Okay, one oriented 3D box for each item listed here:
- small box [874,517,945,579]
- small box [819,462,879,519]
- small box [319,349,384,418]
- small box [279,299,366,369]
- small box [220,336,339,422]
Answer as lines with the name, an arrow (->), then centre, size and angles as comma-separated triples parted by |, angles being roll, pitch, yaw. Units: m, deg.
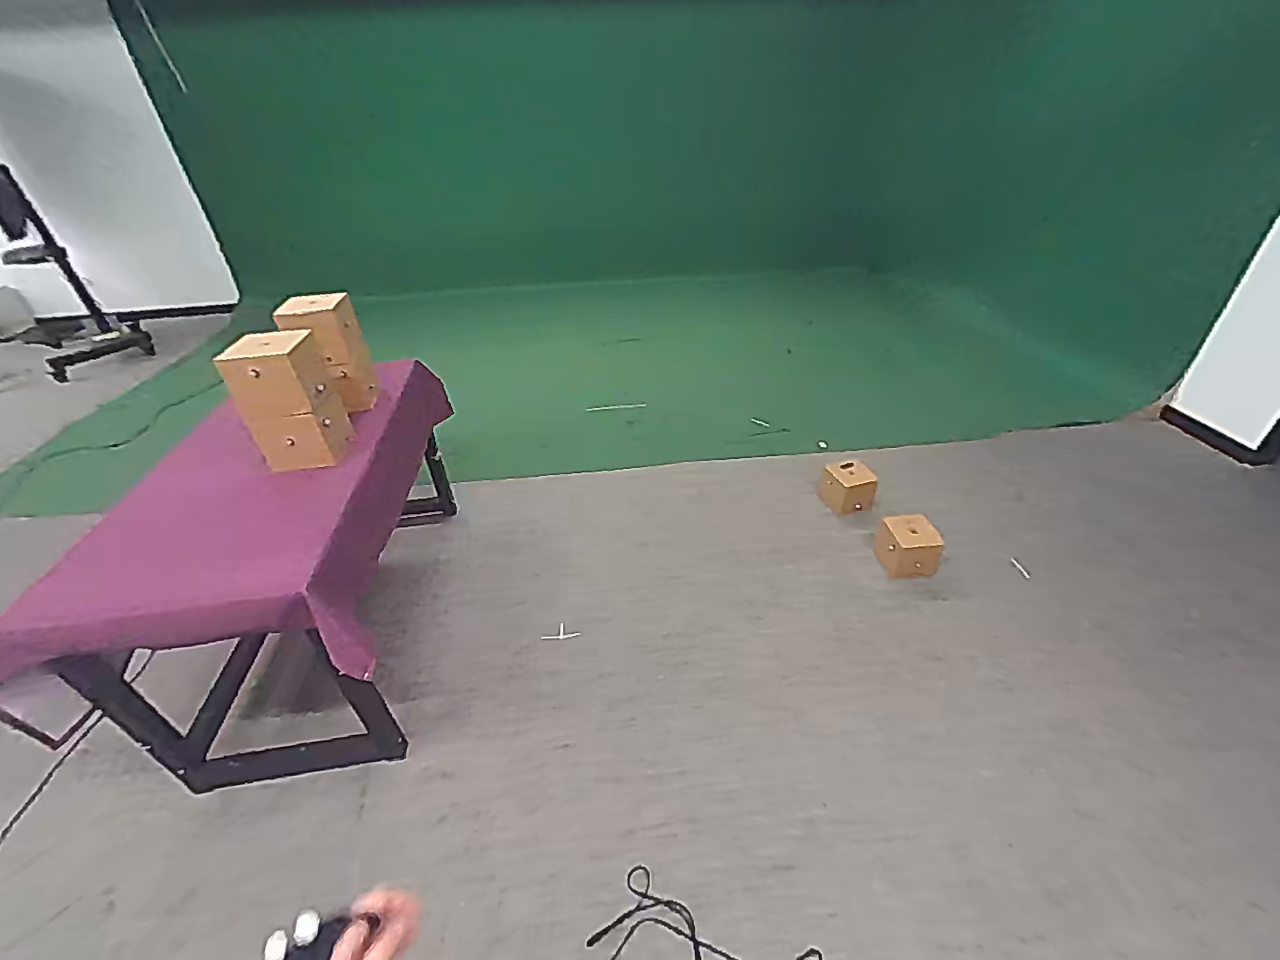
small box -> 1.020, 0.265, 2.060 | 0.168, 0.176, 0.179 | -4, 35, -2
small box -> 0.911, 0.047, 2.375 | 0.168, 0.176, 0.179 | -12, 37, -12
small box -> -0.973, -0.314, 1.779 | 0.179, 0.176, 0.168 | -7, 36, -7
small box -> -0.977, -0.449, 1.685 | 0.168, 0.176, 0.179 | -7, 36, -7
small box -> -0.934, -0.264, 1.420 | 0.179, 0.176, 0.168 | -6, 36, -2
